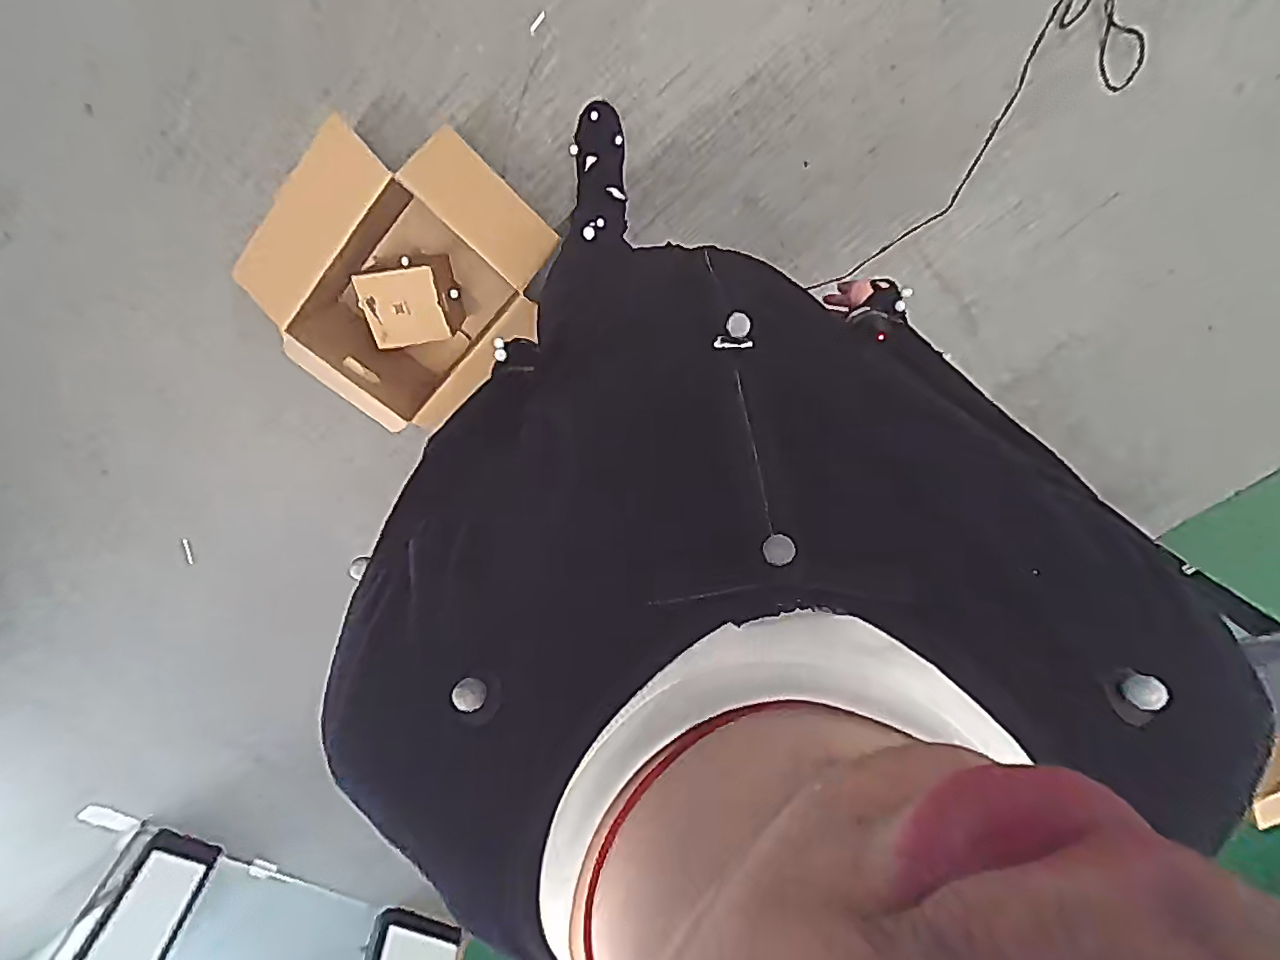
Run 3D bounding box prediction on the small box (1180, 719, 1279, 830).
[{"bbox_3d":[1.517,0.729,1.354,0.168,0.176,0.179,-34,119,15],"label":"small box"}]
